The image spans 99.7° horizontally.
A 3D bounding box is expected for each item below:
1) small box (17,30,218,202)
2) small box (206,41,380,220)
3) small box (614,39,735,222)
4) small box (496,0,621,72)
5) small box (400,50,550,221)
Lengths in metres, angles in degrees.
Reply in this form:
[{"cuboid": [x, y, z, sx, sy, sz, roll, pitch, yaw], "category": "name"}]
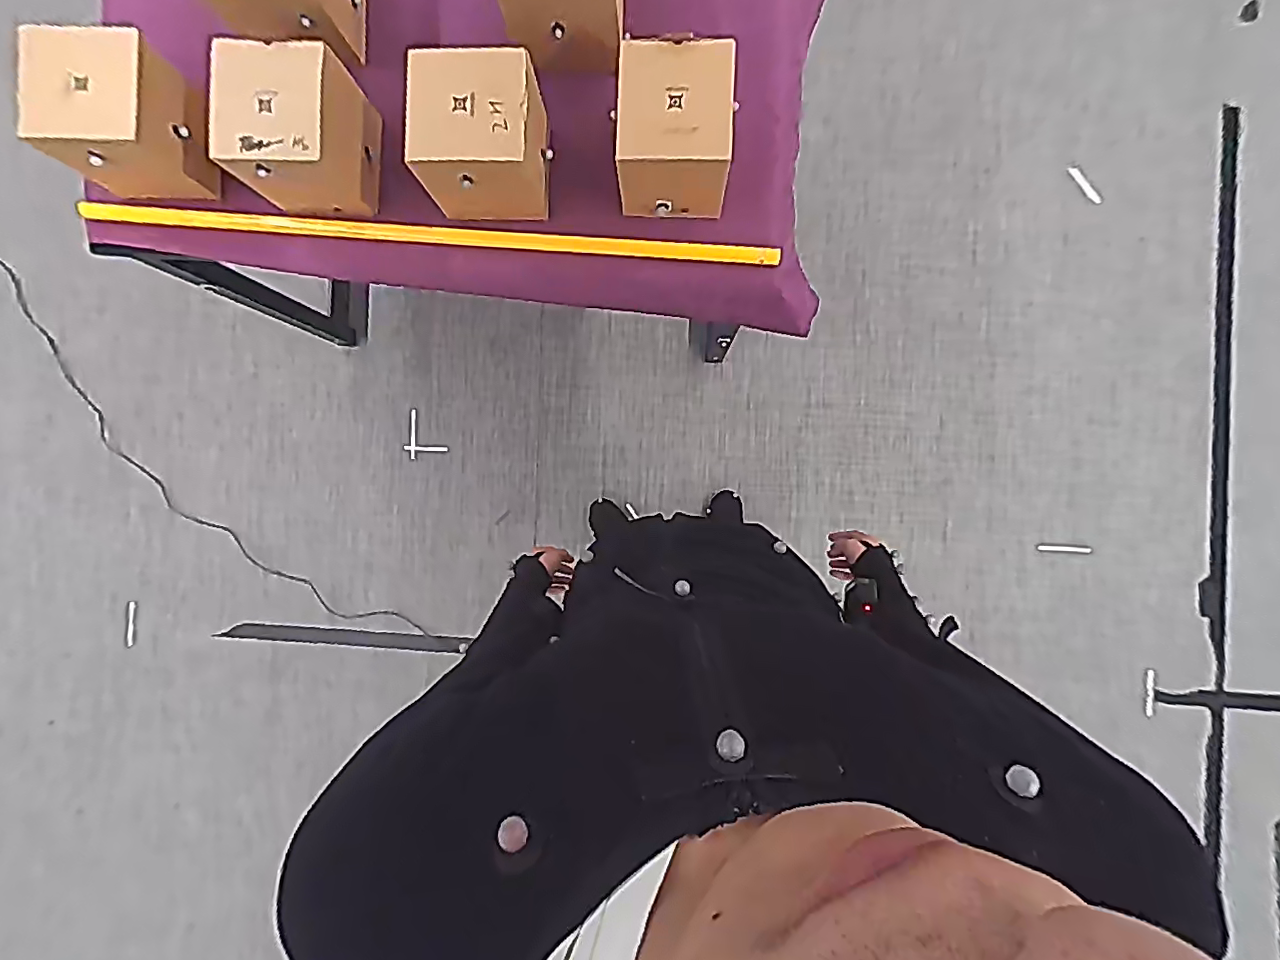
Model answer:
[{"cuboid": [-0.812, -0.566, 0.862, 0.179, 0.176, 0.168, 2, 89, 2], "category": "small box"}, {"cuboid": [-0.533, -0.540, 0.854, 0.168, 0.176, 0.179, 3, 90, 3], "category": "small box"}, {"cuboid": [0.051, -0.528, 0.834, 0.168, 0.176, 0.179, 2, 88, 3], "category": "small box"}, {"cuboid": [-0.120, -0.776, 0.841, 0.179, 0.176, 0.168, 0, 91, 3], "category": "small box"}, {"cuboid": [-0.247, -0.524, 0.844, 0.179, 0.176, 0.168, 2, 89, 2], "category": "small box"}]
